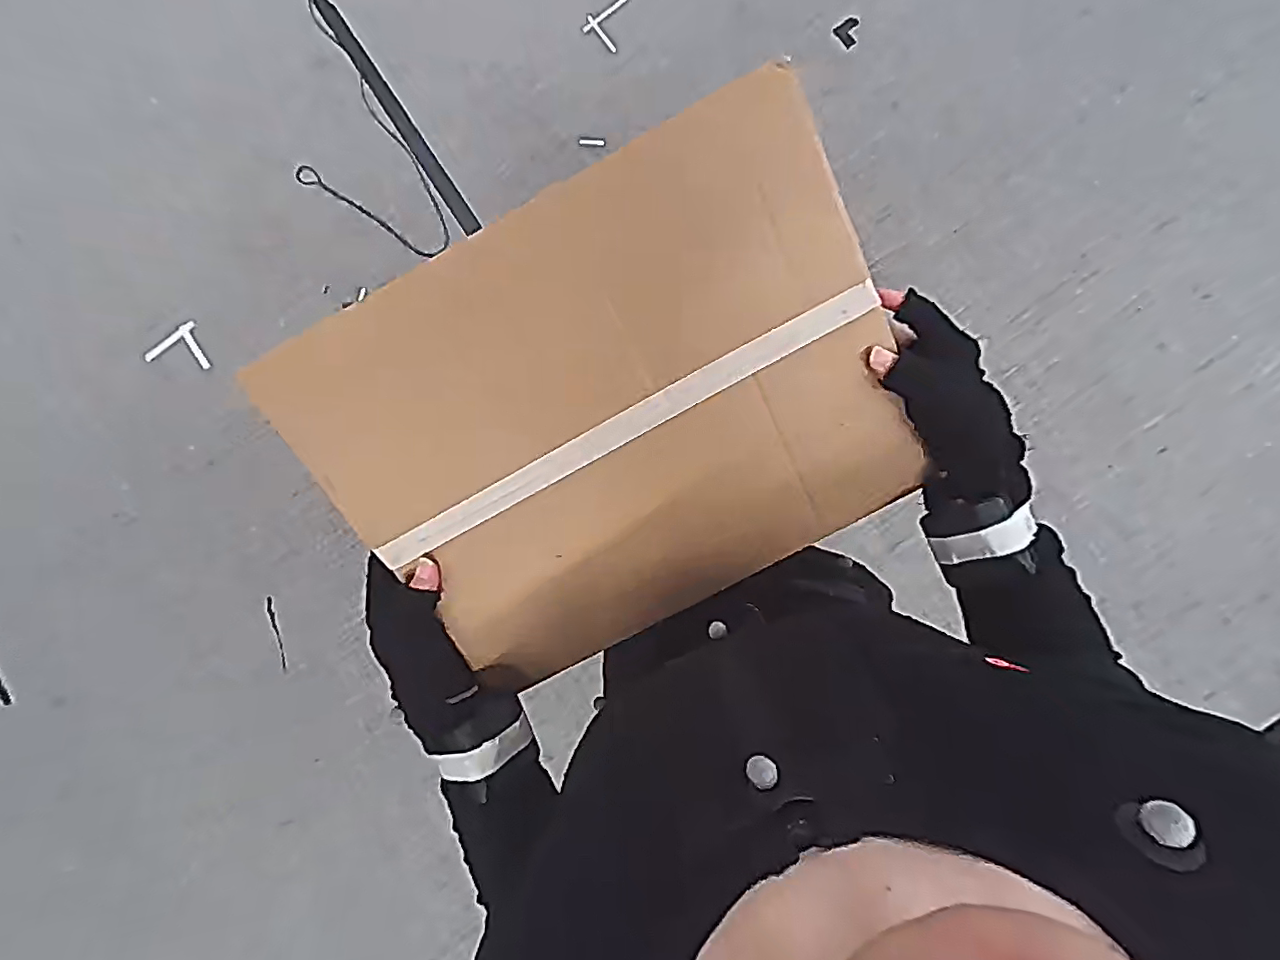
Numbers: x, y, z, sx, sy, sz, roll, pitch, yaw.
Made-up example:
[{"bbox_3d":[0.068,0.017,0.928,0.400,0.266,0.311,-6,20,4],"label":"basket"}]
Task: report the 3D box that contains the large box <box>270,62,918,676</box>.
[{"bbox_3d":[-0.030,-0.092,0.544,0.408,0.320,0.320,-28,109,4],"label":"large box"}]
